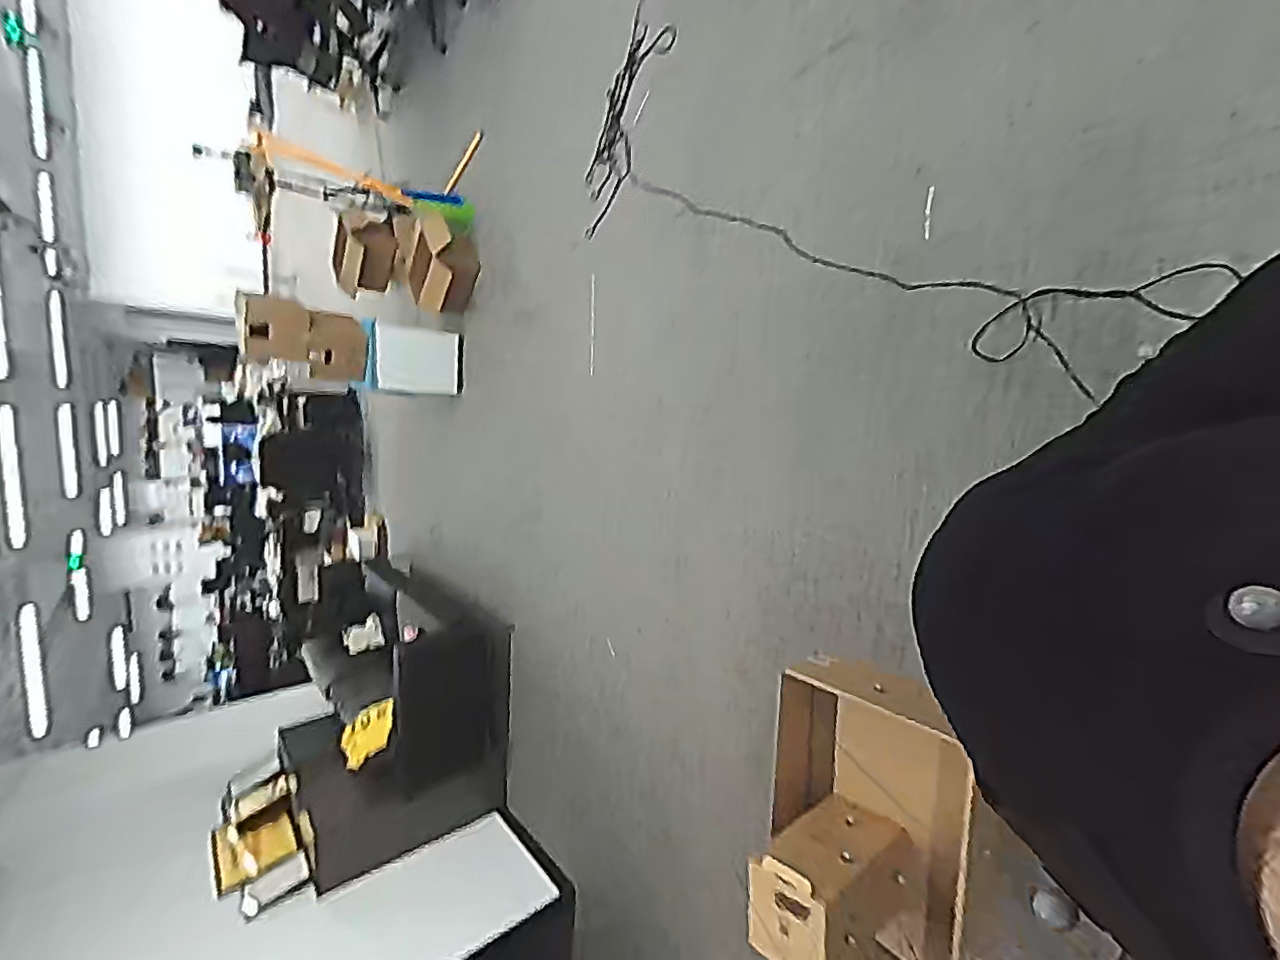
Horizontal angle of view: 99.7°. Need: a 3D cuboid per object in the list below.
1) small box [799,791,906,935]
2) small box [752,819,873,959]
[{"bbox_3d":[0.456,0.812,1.167,0.168,0.176,0.179,3,92,50],"label":"small box"},{"bbox_3d":[0.337,0.808,1.053,0.168,0.176,0.179,1,92,49],"label":"small box"}]
